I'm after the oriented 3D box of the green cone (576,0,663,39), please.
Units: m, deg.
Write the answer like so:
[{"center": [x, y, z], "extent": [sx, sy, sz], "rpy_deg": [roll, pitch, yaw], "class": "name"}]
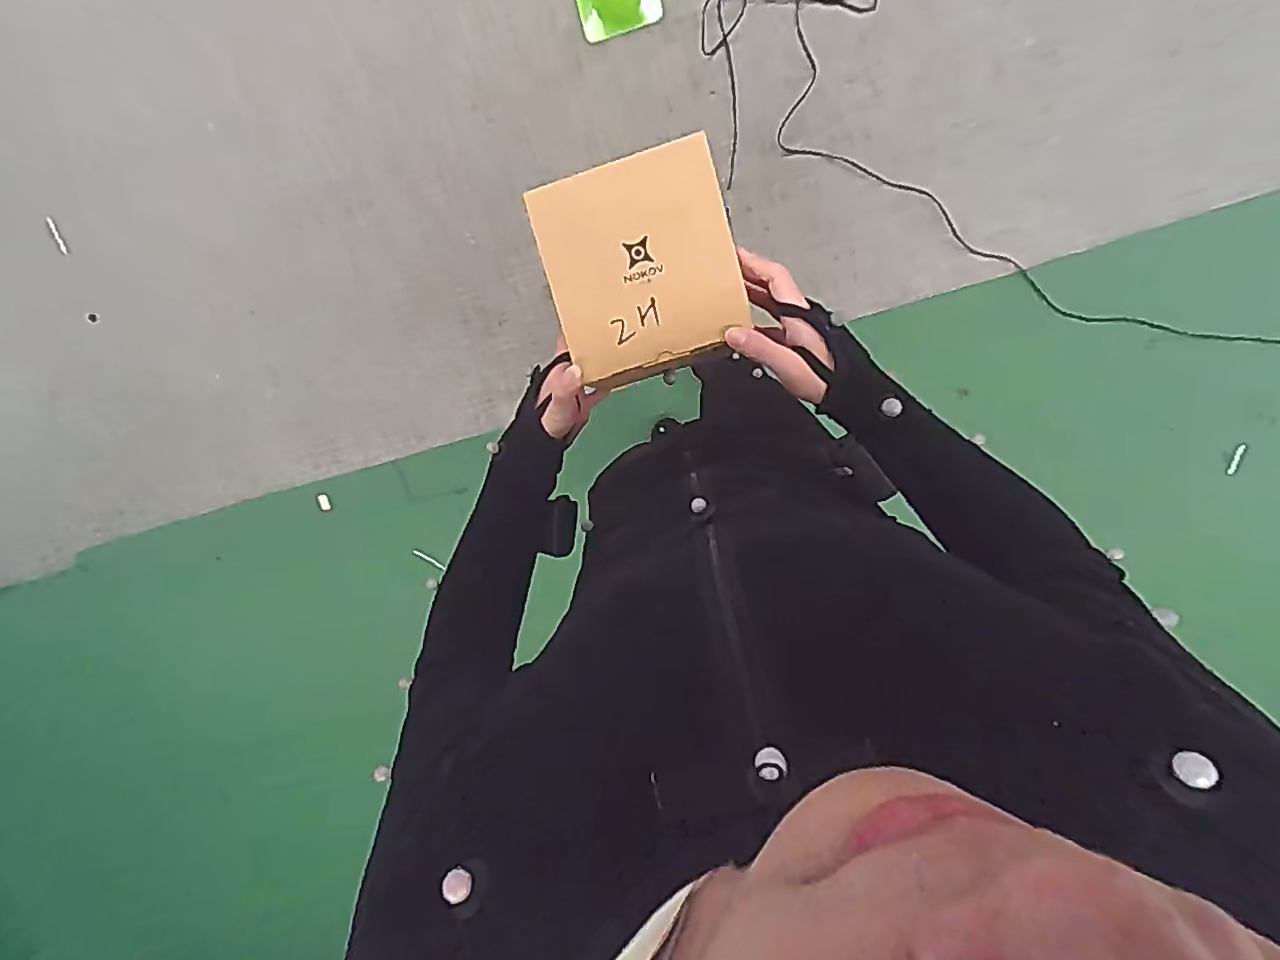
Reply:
[{"center": [-0.067, -1.154, 1.136], "extent": [0.202, 0.368, 0.200], "rpy_deg": [-15, 103, 6], "class": "green cone"}]
